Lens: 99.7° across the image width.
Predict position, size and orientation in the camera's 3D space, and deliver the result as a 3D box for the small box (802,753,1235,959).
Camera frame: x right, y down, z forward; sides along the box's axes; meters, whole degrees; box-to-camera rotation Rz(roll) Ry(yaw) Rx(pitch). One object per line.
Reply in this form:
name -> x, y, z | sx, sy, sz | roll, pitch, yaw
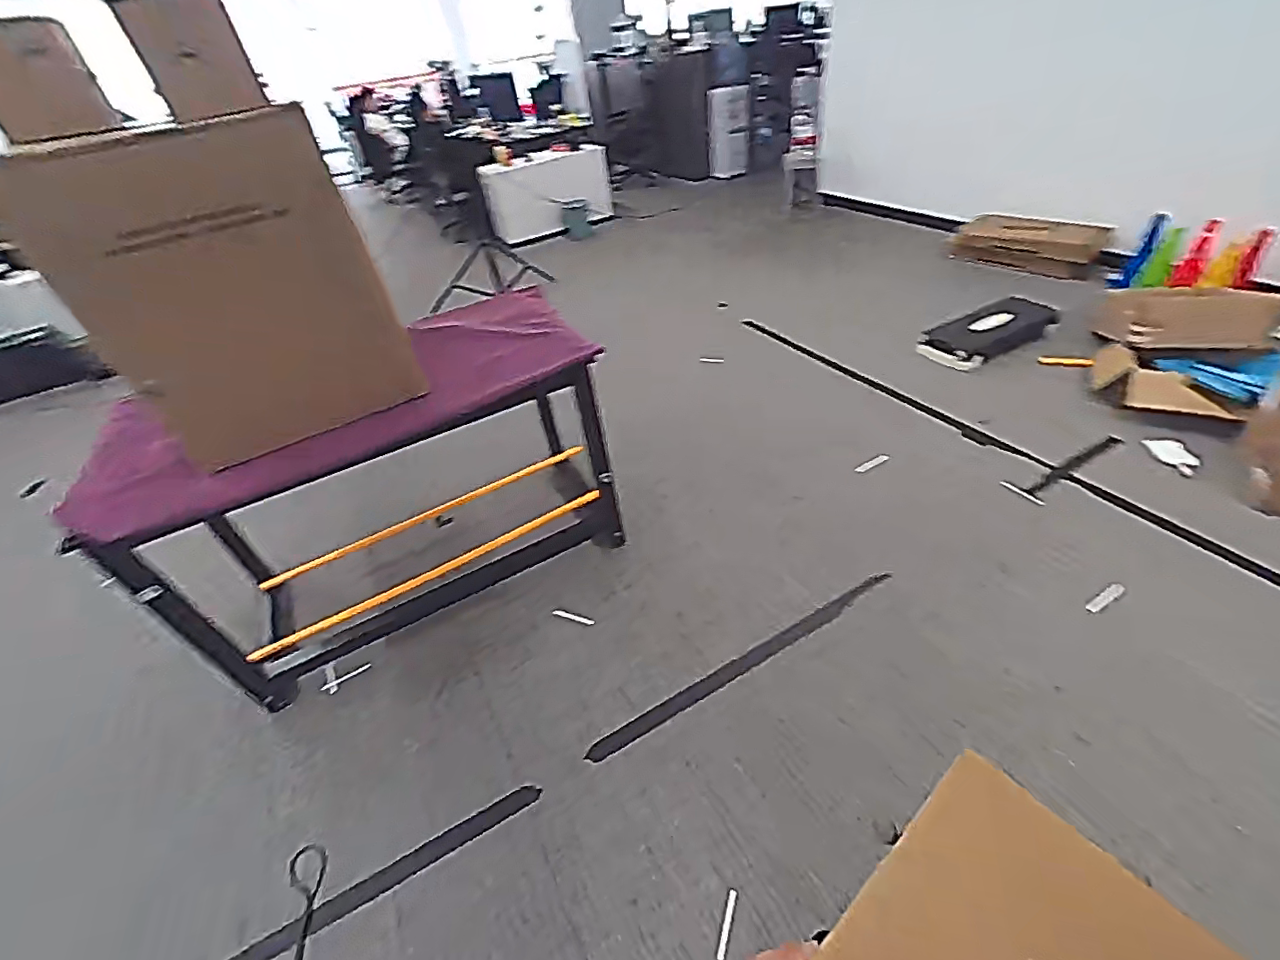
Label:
small box -> 0.211, 0.306, 0.315 | 0.168, 0.176, 0.179 | -41, 52, -17
